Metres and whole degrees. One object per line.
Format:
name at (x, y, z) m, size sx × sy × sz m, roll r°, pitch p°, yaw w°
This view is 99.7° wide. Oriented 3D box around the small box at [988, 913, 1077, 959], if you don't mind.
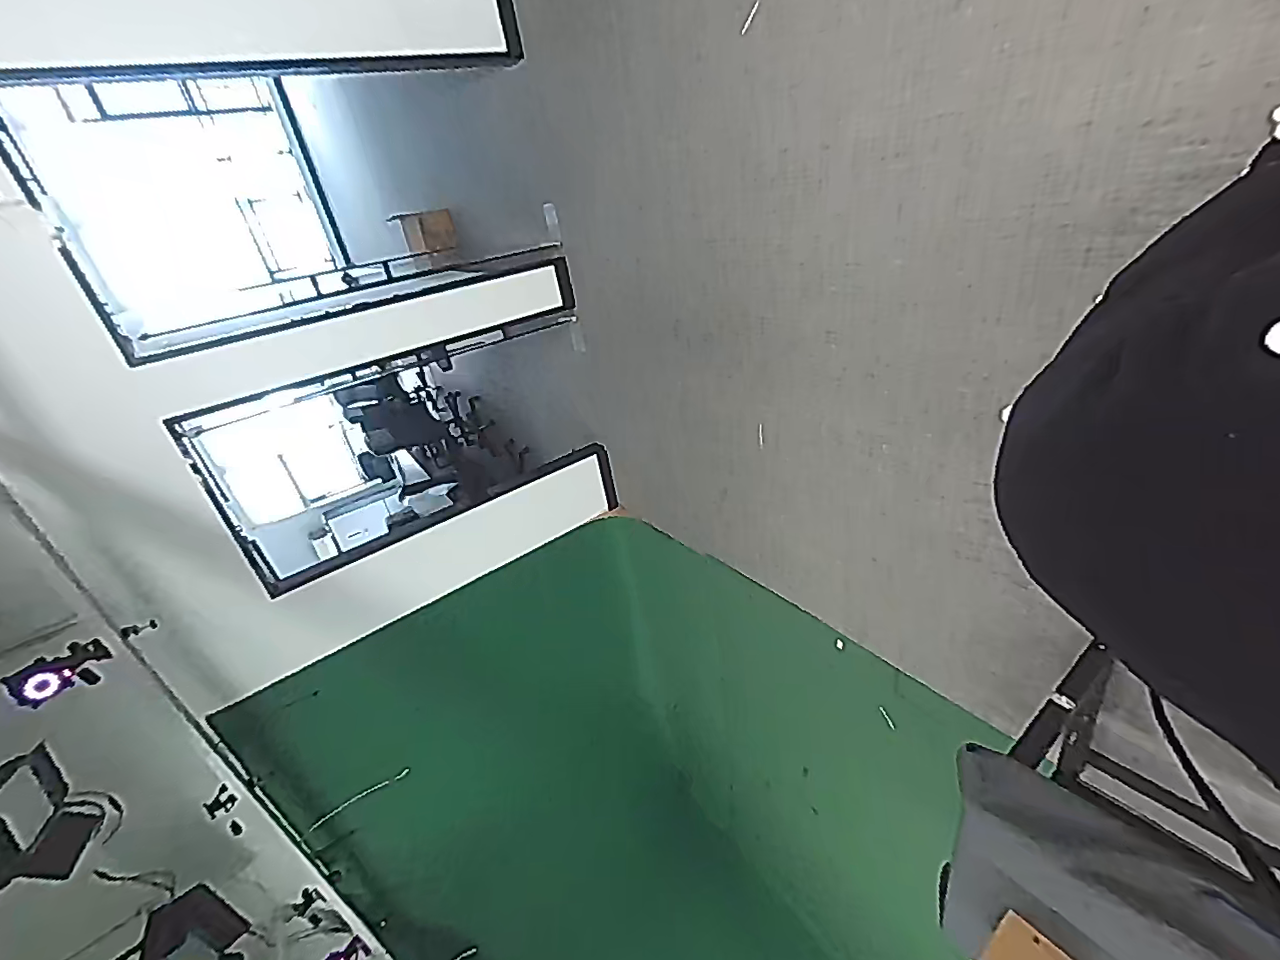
small box at (0.848, 1.094, 1.161) m, size 0.168 × 0.176 × 0.179 m, roll 28°, pitch 137°, yaw 48°
